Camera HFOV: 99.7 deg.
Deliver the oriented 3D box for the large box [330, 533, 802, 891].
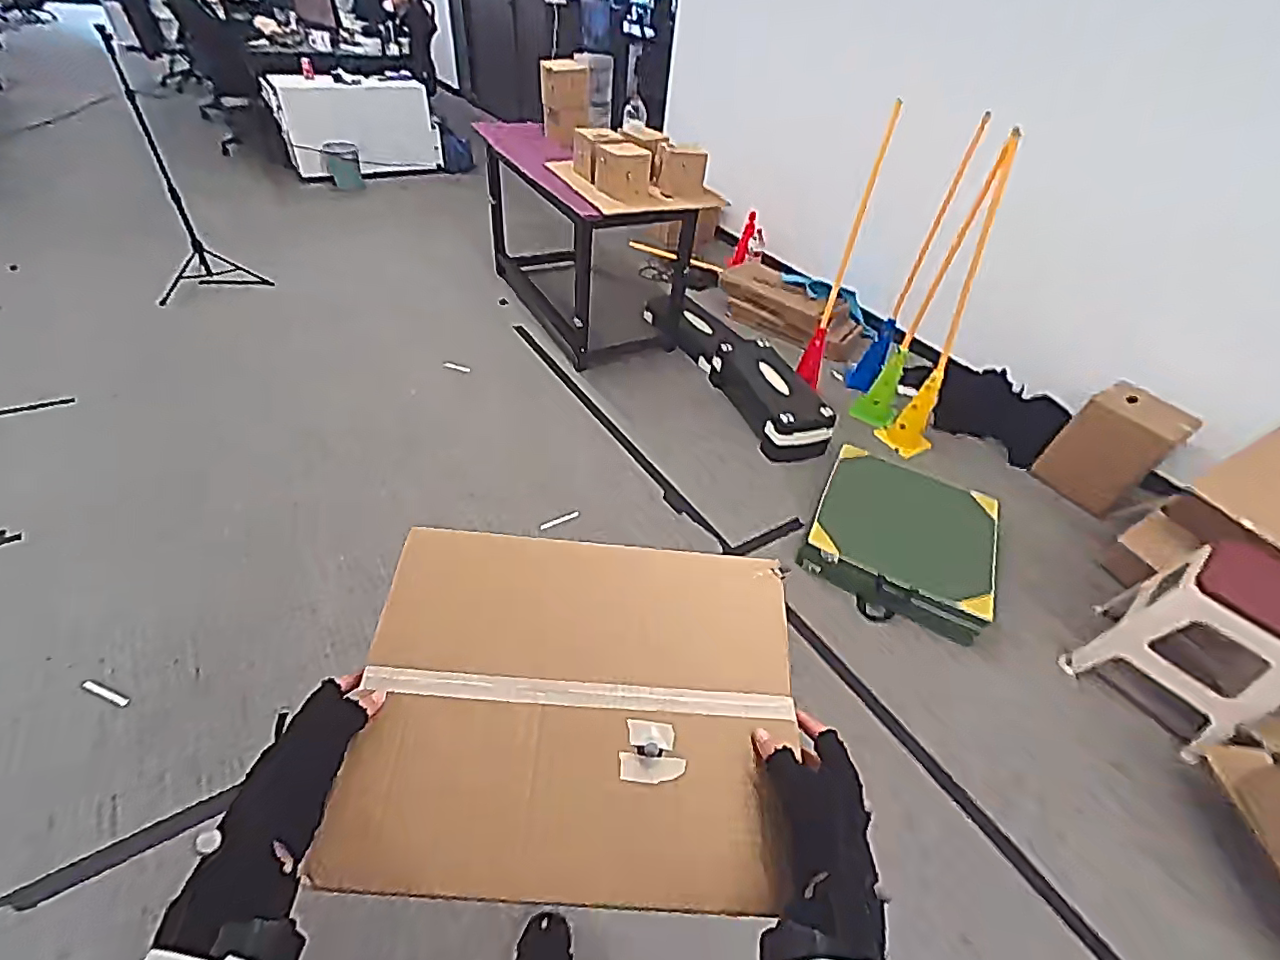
[{"bbox_3d":[-0.067,0.283,0.653,0.408,0.320,0.320,6,58,-3],"label":"large box"}]
